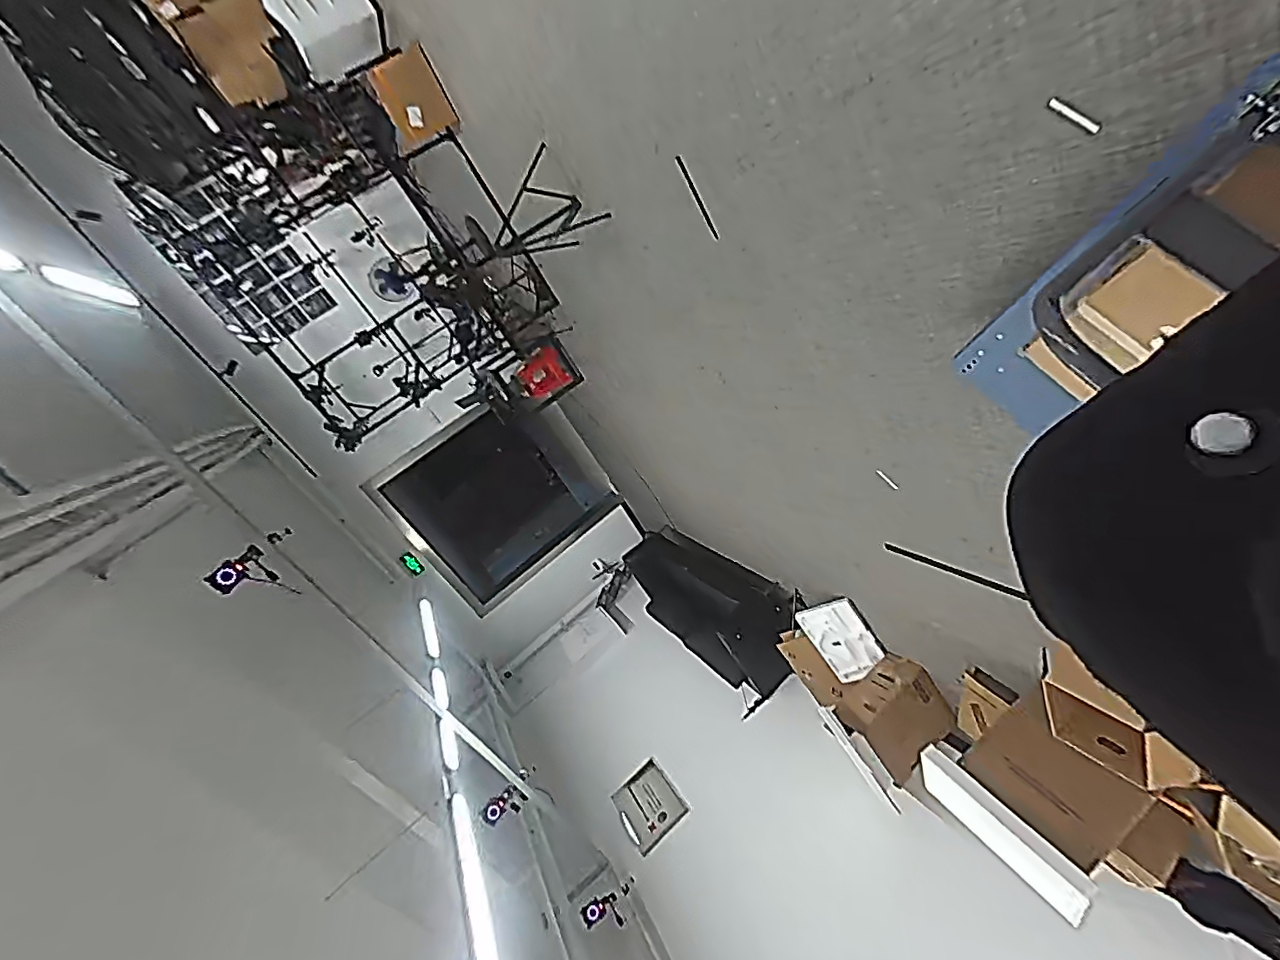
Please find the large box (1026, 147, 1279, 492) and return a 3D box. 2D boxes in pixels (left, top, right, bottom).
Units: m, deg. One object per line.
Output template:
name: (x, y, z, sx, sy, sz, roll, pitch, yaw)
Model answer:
large box: (1.012, -0.256, 0.920, 0.408, 0.320, 0.320, 49, 166, 14)
